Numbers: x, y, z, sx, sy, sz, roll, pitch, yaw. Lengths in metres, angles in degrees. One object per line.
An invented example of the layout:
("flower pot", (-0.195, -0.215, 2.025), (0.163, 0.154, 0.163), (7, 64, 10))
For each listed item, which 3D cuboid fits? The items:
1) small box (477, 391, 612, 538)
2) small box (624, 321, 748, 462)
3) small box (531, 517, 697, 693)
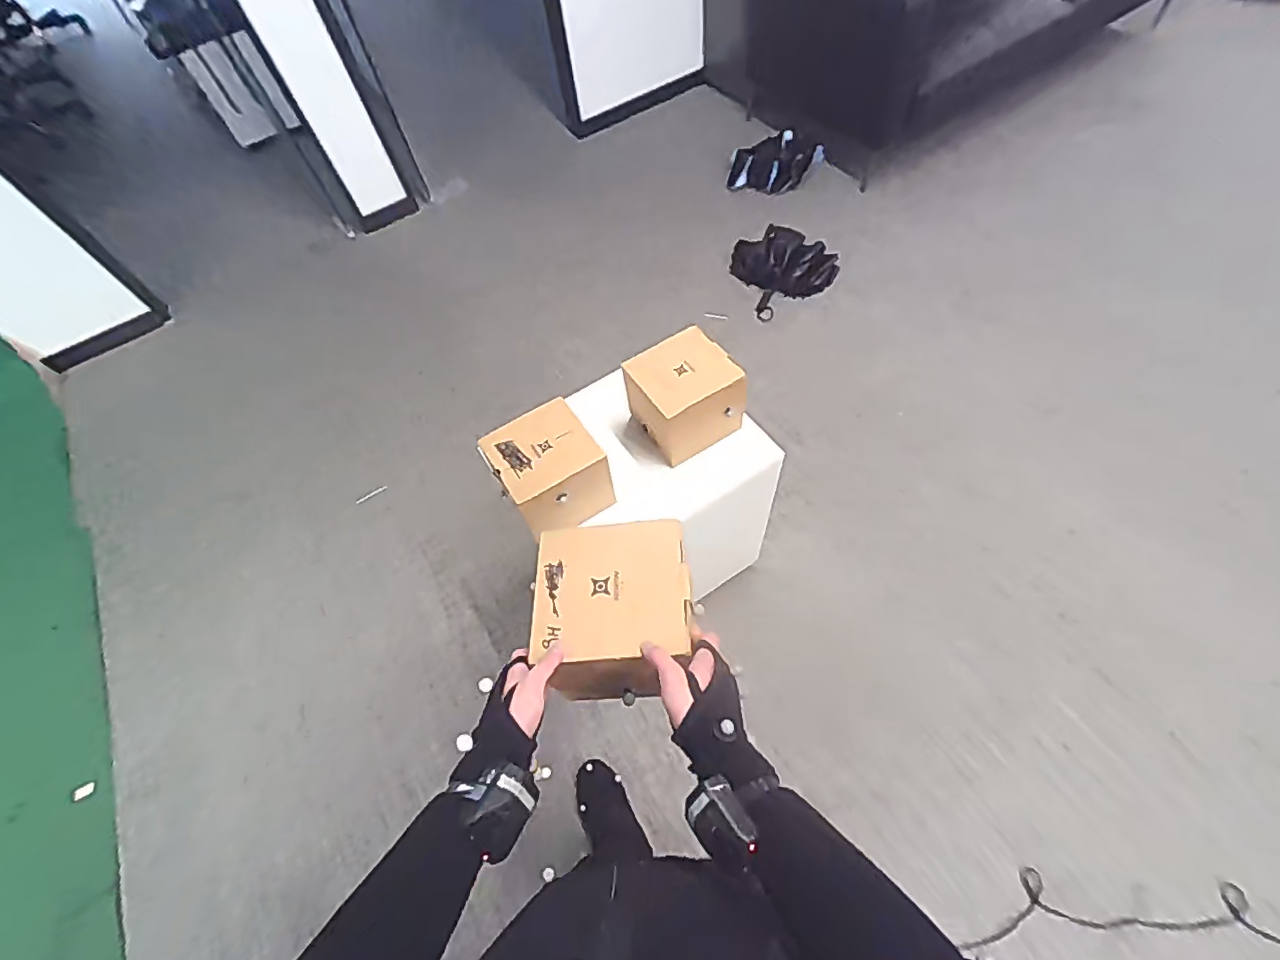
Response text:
("small box", (-0.166, -0.022, 0.991), (0.179, 0.176, 0.168), (-30, 63, -15))
("small box", (0.087, -0.169, 1.059), (0.179, 0.176, 0.168), (-30, 62, -11))
("small box", (-0.020, 0.160, 0.671), (0.179, 0.176, 0.168), (-4, 56, 6))
